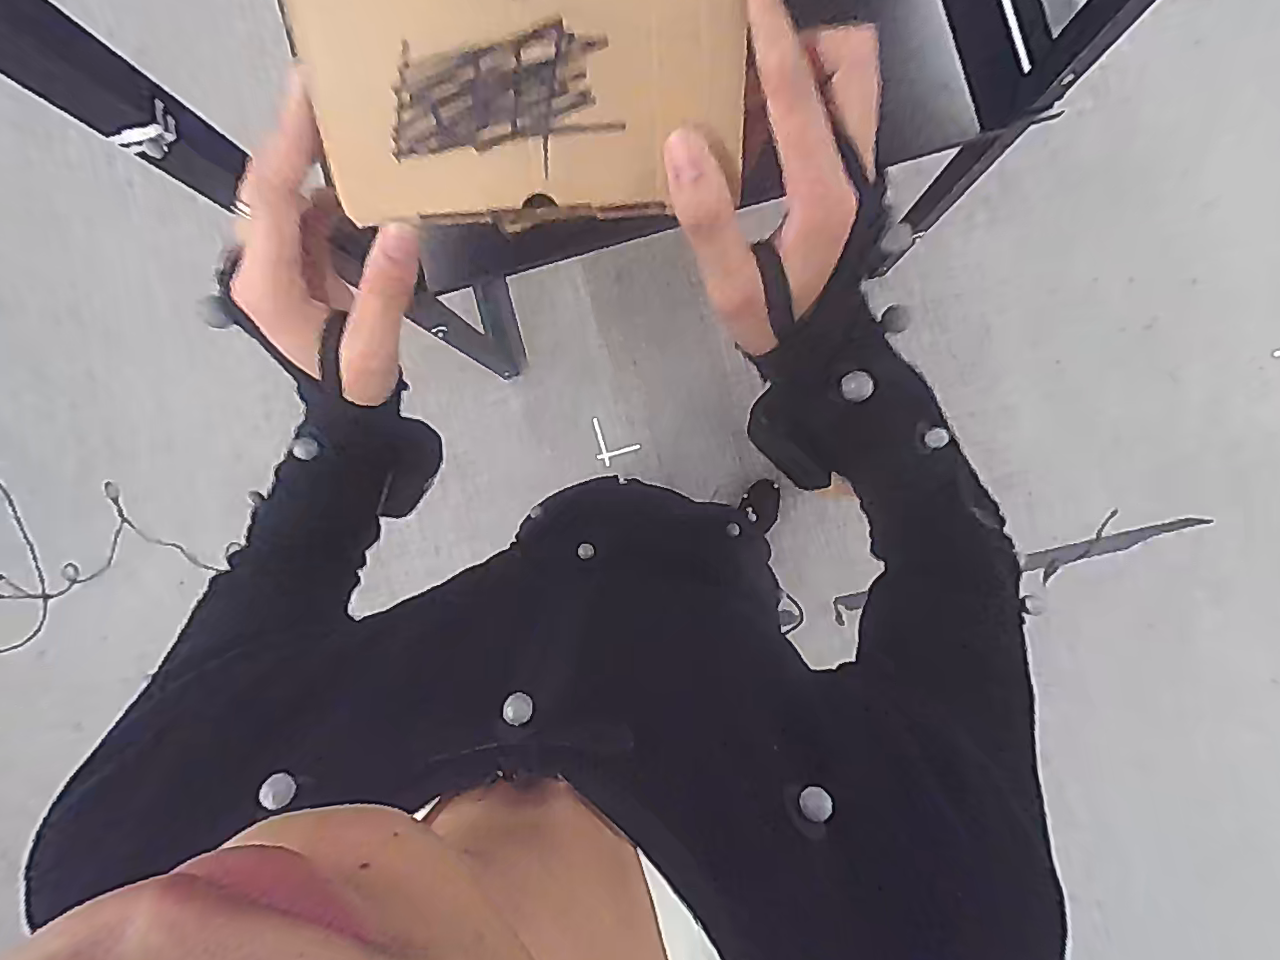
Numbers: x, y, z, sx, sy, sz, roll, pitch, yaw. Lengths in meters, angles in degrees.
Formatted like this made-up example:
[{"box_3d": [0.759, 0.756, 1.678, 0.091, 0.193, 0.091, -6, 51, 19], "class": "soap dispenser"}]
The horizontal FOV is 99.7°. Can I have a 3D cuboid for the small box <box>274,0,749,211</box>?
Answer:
[{"box_3d": [-0.041, -0.225, 0.239, 0.168, 0.176, 0.179, -1, 119, 3], "class": "small box"}]

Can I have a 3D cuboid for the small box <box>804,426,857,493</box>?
[{"box_3d": [0.583, -0.068, 1.514, 0.179, 0.176, 0.168, -17, 88, 4], "class": "small box"}]
